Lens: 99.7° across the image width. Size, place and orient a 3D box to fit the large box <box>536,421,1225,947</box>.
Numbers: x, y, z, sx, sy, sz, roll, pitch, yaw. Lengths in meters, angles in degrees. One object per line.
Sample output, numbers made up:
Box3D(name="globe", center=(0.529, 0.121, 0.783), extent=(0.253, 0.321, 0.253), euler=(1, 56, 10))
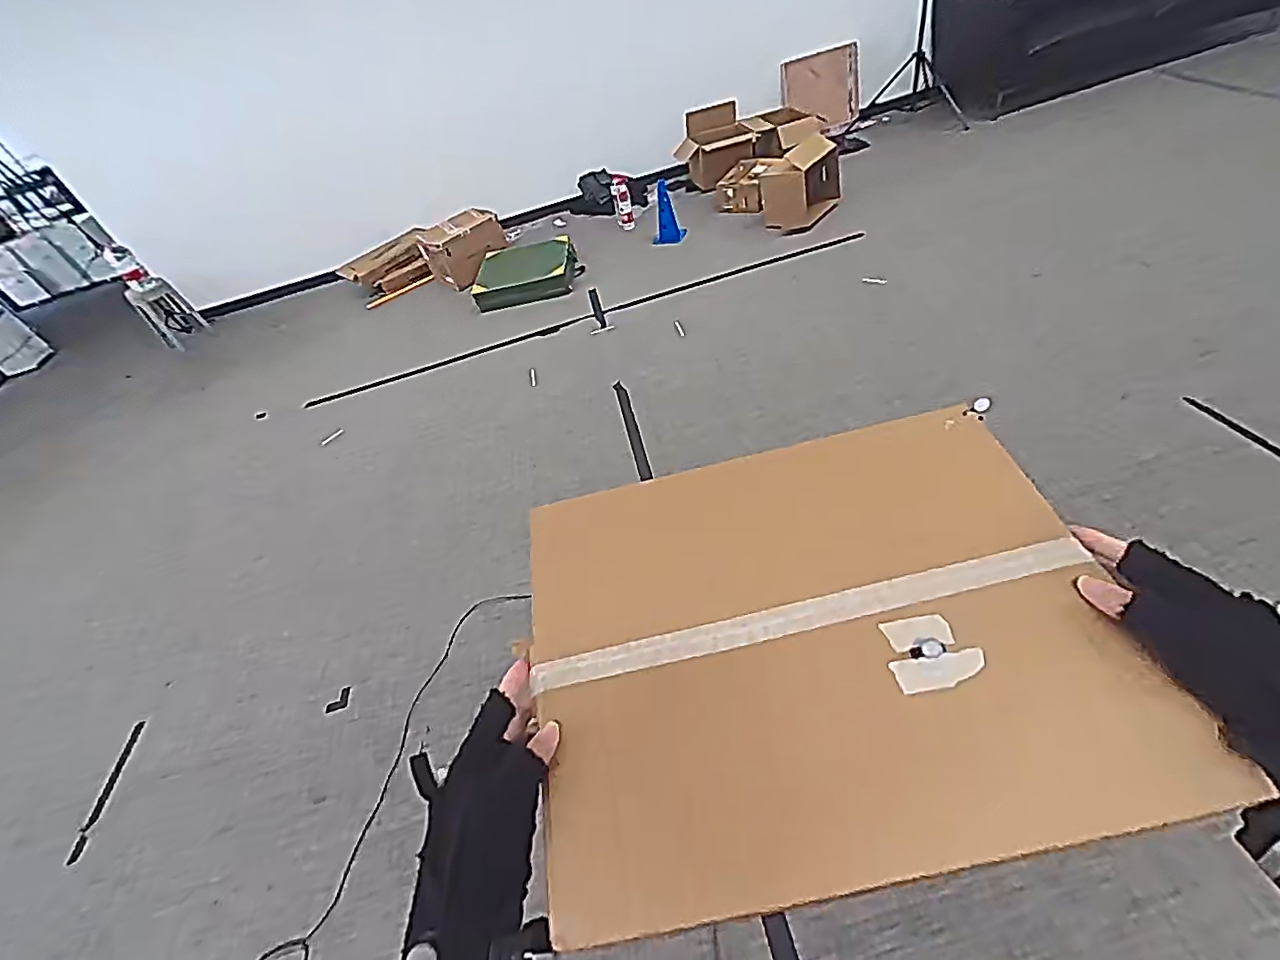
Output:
Box3D(name="large box", center=(0.145, 0.198, 0.522), extent=(0.408, 0.320, 0.320), euler=(-14, 52, 1))
